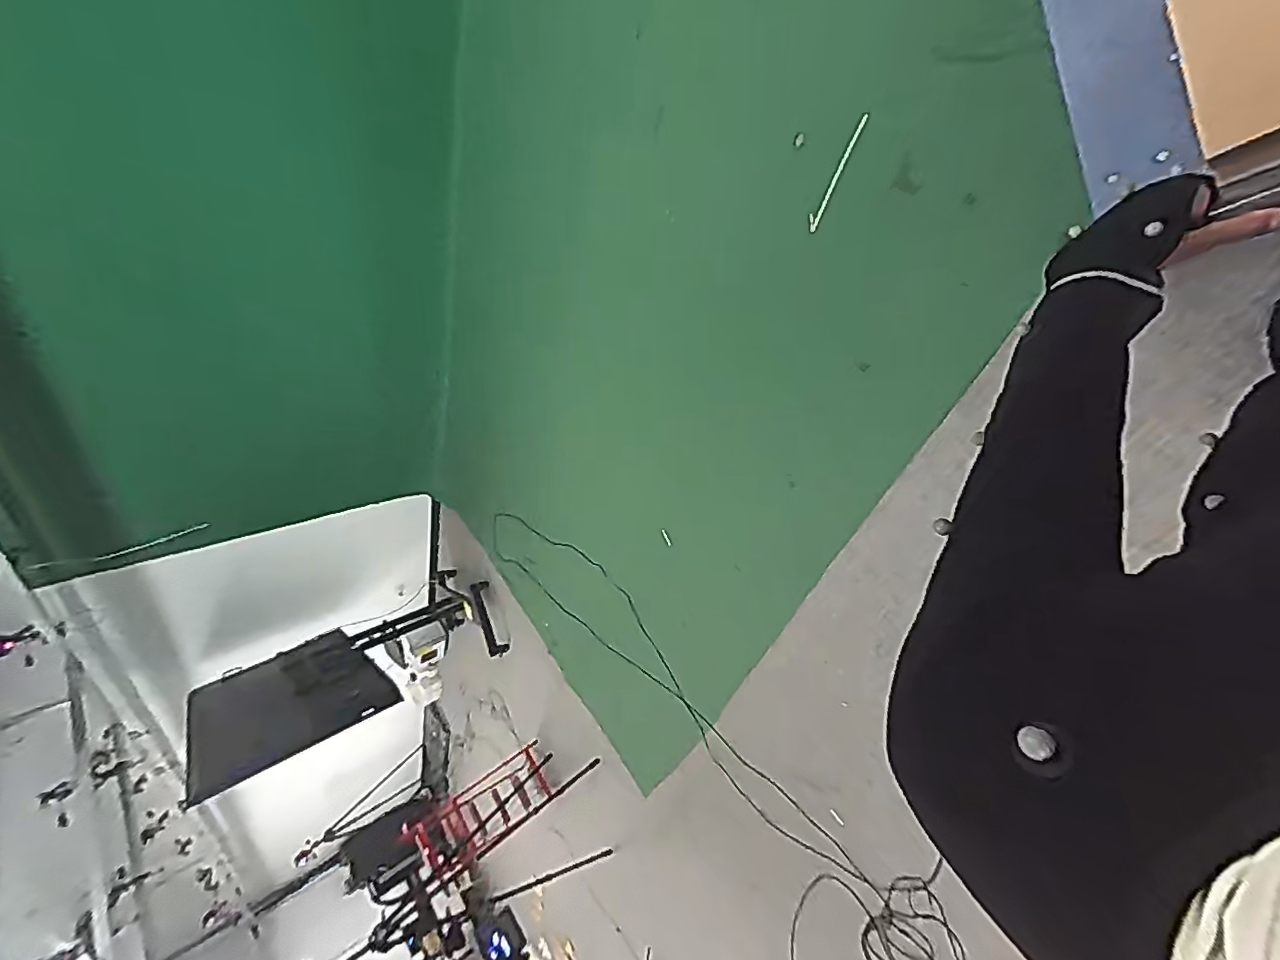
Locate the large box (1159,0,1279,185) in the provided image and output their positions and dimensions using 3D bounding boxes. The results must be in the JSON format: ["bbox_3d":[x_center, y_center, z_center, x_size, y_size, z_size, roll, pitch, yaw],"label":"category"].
[{"bbox_3d":[0.956,-0.694,0.738,0.320,0.320,0.408,-13,92,51],"label":"large box"}]
